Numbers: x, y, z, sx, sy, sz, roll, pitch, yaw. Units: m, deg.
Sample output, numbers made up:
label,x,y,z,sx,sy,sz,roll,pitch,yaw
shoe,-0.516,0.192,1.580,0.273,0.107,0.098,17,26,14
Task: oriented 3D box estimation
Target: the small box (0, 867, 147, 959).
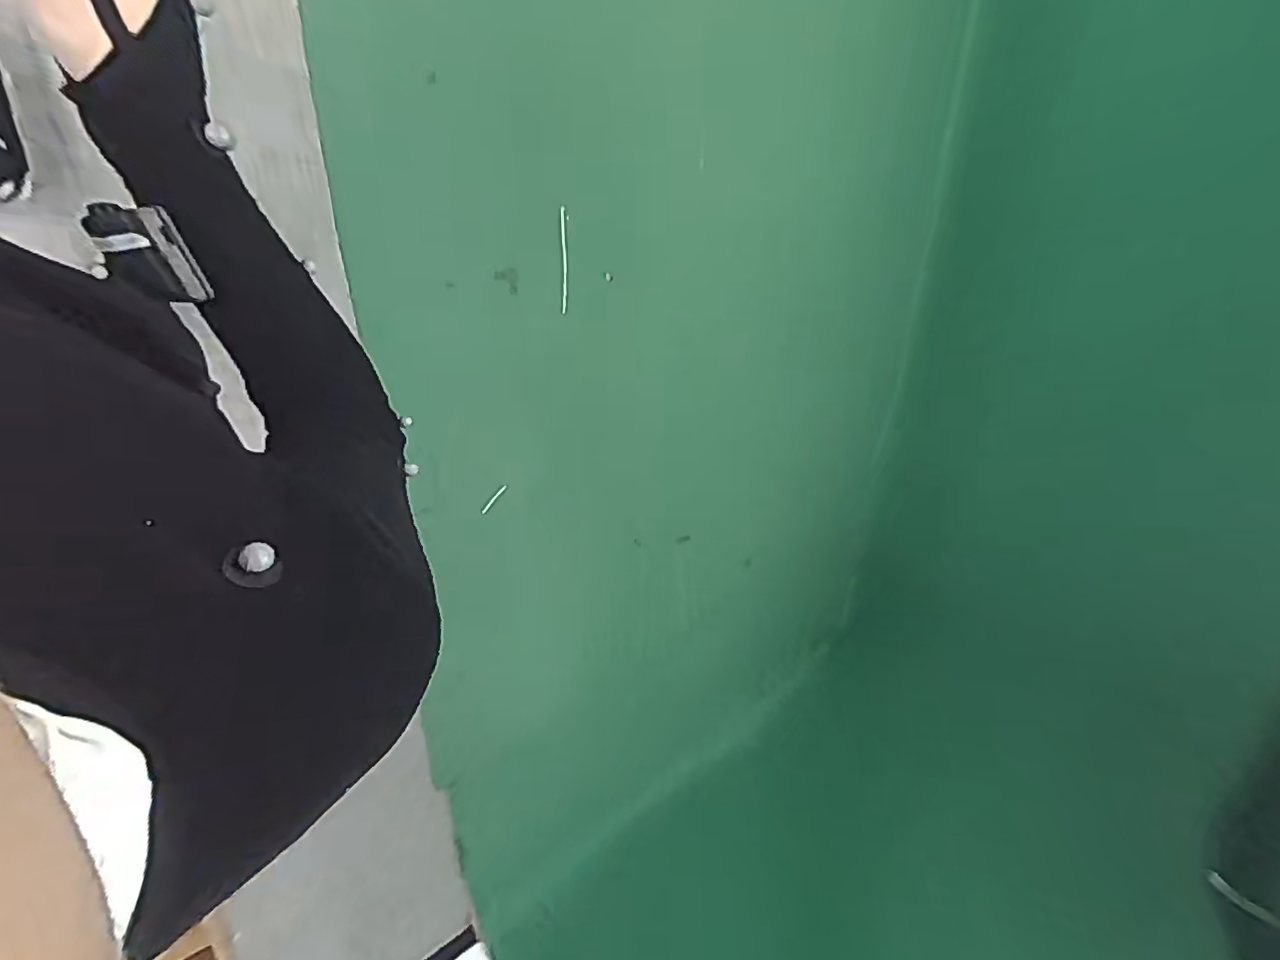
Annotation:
label,x,y,z,sx,sy,sz,roll,pitch,yaw
small box,-0.886,0.750,0.824,0.179,0.176,0.168,-14,119,-34
